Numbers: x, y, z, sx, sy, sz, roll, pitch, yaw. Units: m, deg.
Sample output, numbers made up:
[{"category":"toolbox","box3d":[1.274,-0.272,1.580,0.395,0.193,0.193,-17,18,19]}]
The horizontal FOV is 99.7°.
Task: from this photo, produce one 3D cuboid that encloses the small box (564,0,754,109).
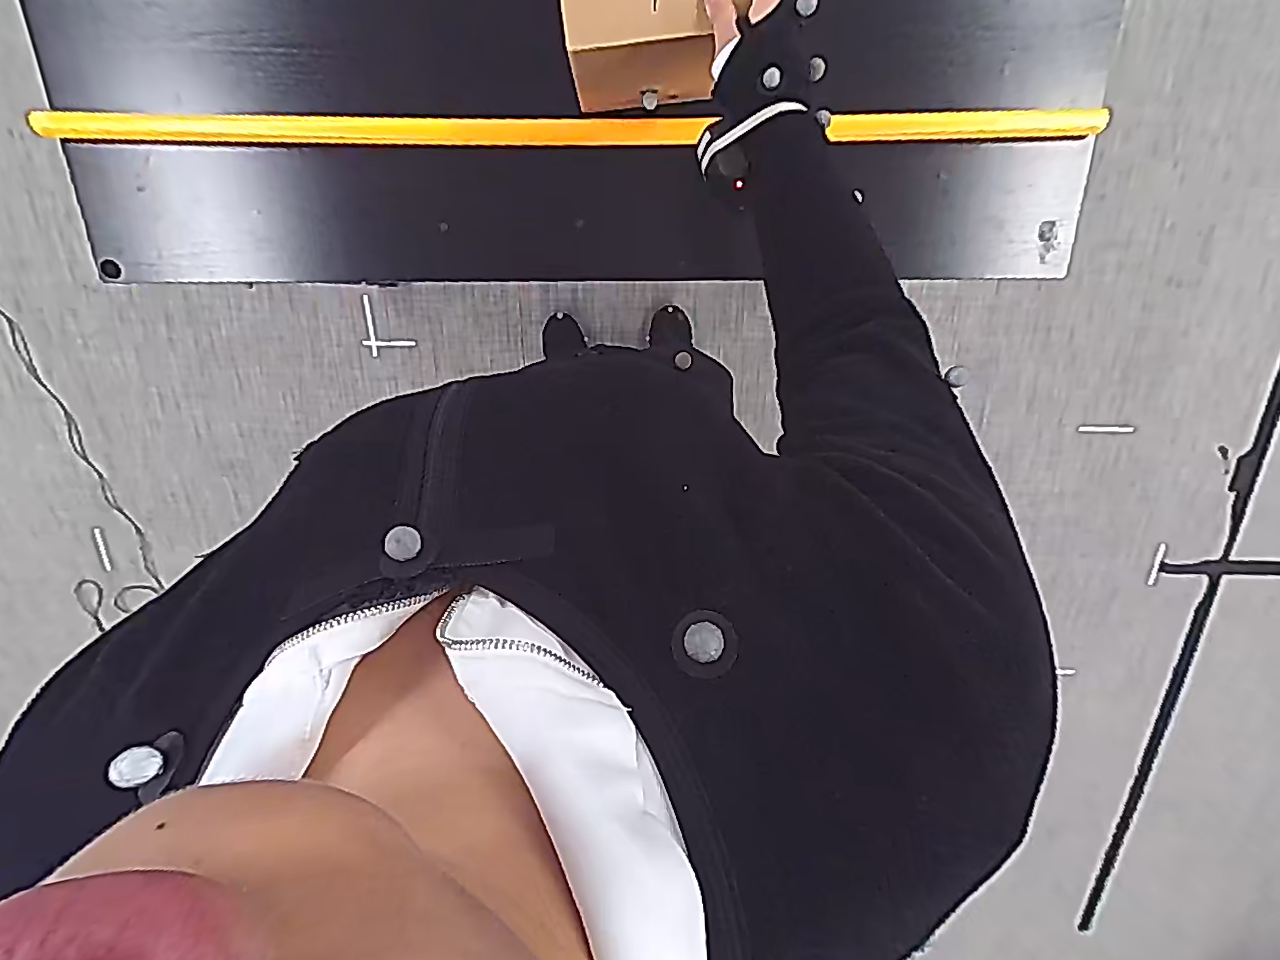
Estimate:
[{"category":"small box","box3d":[0.010,-0.491,0.520,0.168,0.176,0.179,-5,109,1]}]
